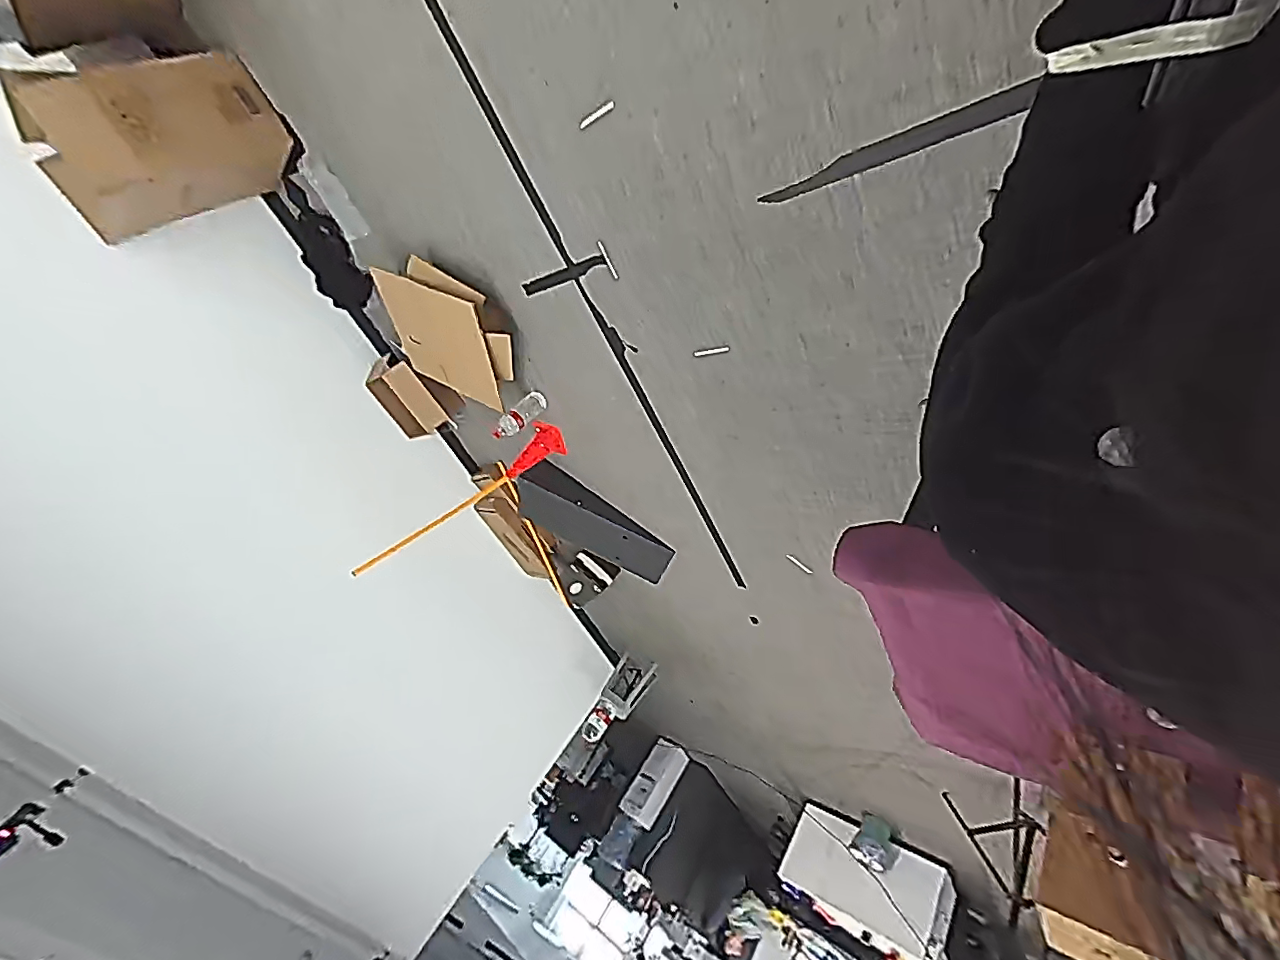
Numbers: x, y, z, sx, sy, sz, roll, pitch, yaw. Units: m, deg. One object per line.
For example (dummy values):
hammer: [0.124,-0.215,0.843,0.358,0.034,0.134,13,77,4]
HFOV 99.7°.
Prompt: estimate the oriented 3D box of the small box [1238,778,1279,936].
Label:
small box: [1.035,0.592,0.817,0.168,0.176,0.179,2,131,46]

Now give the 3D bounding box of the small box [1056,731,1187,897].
small box: [0.882,0.602,0.991,0.168,0.176,0.179,1,129,45]

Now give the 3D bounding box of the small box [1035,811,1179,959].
small box: [0.789,0.708,0.910,0.168,0.176,0.179,-2,127,46]
